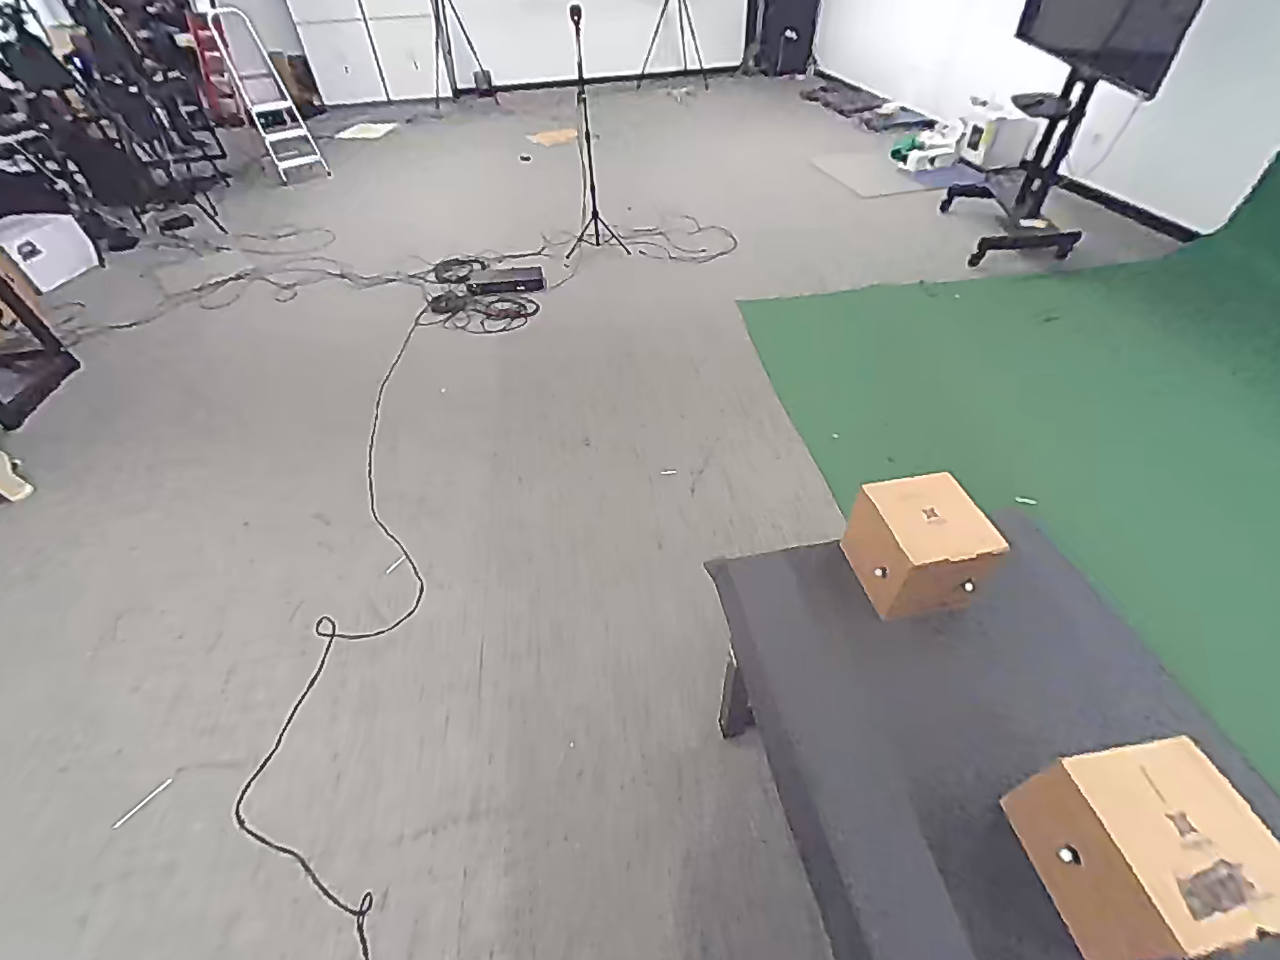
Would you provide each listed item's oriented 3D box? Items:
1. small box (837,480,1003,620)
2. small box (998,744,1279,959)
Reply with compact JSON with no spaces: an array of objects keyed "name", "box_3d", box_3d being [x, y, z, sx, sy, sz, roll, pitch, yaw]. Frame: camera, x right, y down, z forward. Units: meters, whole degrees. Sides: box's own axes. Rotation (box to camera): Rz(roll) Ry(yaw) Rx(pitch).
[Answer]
[{"name":"small box","box_3d":[0.469,0.127,0.938,0.168,0.176,0.179,-7,44,-8]},{"name":"small box","box_3d":[0.566,0.434,0.620,0.168,0.176,0.179,-6,44,-6]}]
